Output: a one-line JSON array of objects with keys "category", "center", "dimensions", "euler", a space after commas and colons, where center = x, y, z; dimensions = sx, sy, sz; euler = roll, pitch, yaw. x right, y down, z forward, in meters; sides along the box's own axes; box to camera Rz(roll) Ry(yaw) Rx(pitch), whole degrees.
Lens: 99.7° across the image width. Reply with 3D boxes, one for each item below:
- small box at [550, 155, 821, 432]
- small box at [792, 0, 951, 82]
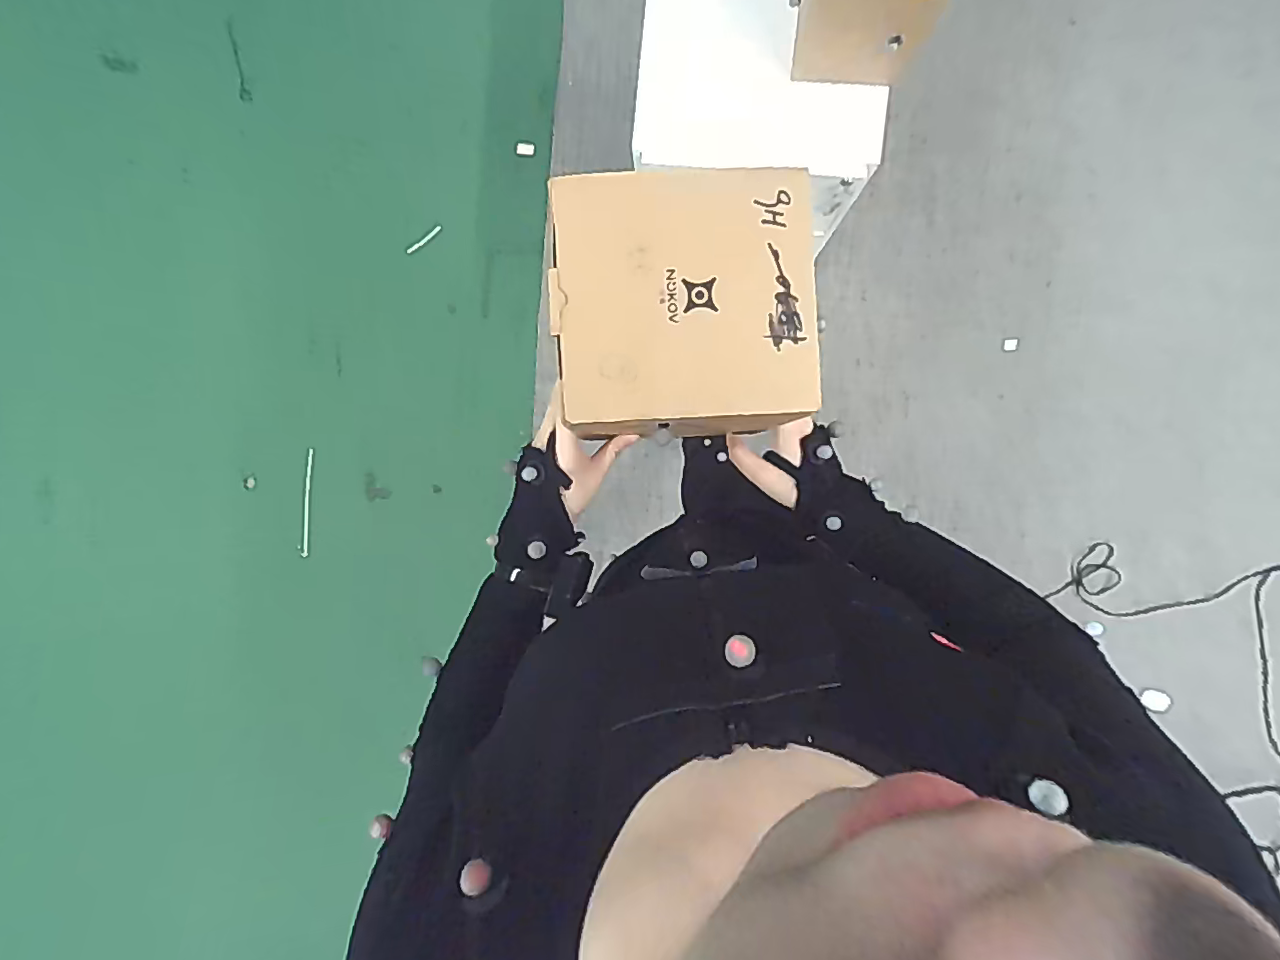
[{"category": "small box", "center": [0.030, -0.130, 0.438], "dimensions": [0.179, 0.176, 0.168], "euler": [-3, 91, -1]}, {"category": "small box", "center": [0.324, -0.698, 0.758], "dimensions": [0.179, 0.176, 0.168], "euler": [6, 91, 6]}]
